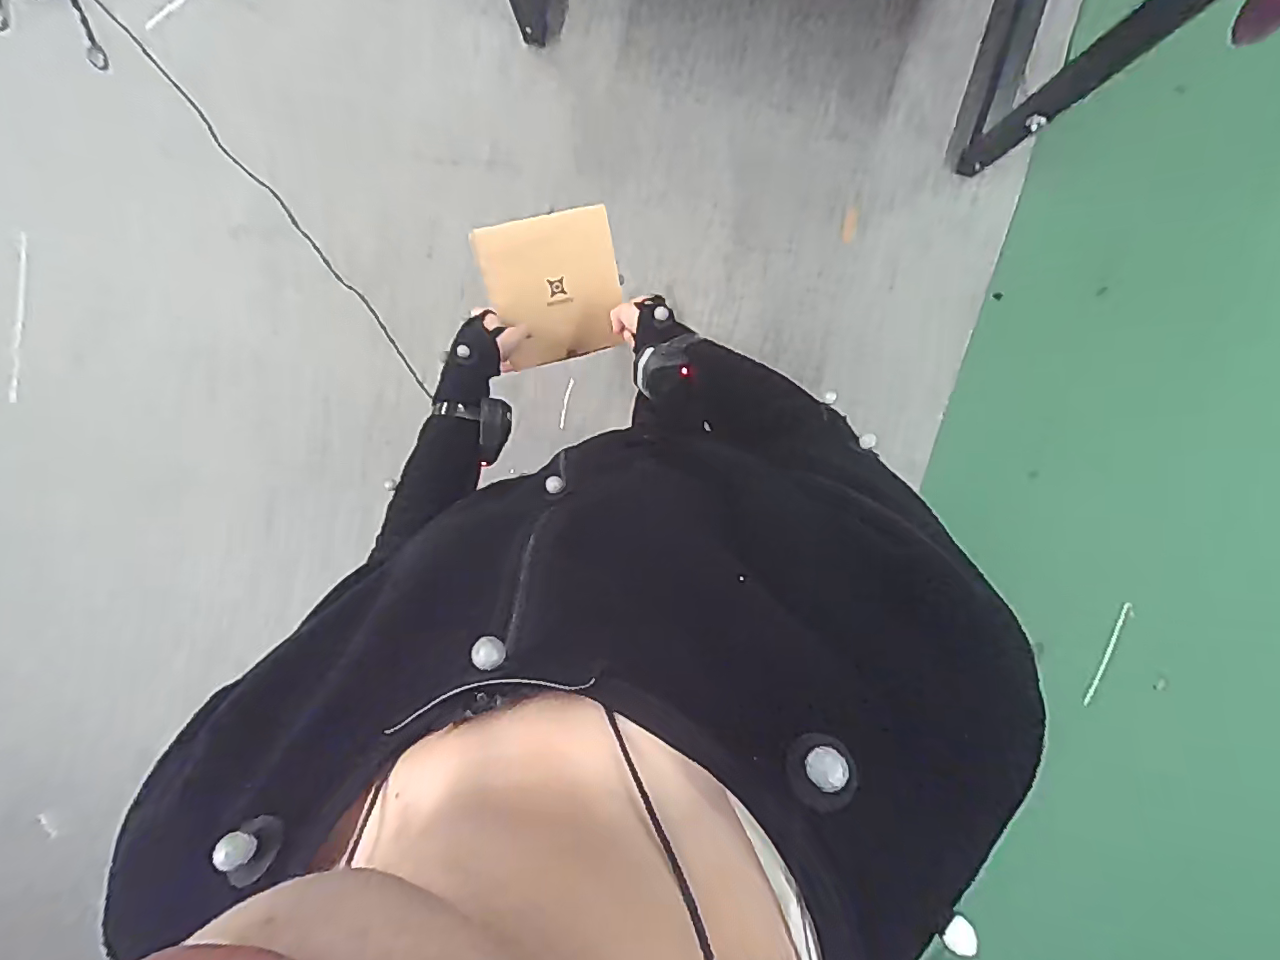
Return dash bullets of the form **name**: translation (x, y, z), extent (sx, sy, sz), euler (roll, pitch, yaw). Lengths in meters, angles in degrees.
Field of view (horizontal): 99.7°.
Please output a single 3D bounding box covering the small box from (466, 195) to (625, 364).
- **small box**: translation (-0.133, -0.277, 0.742), extent (0.168, 0.176, 0.179), euler (-16, 119, -11)
